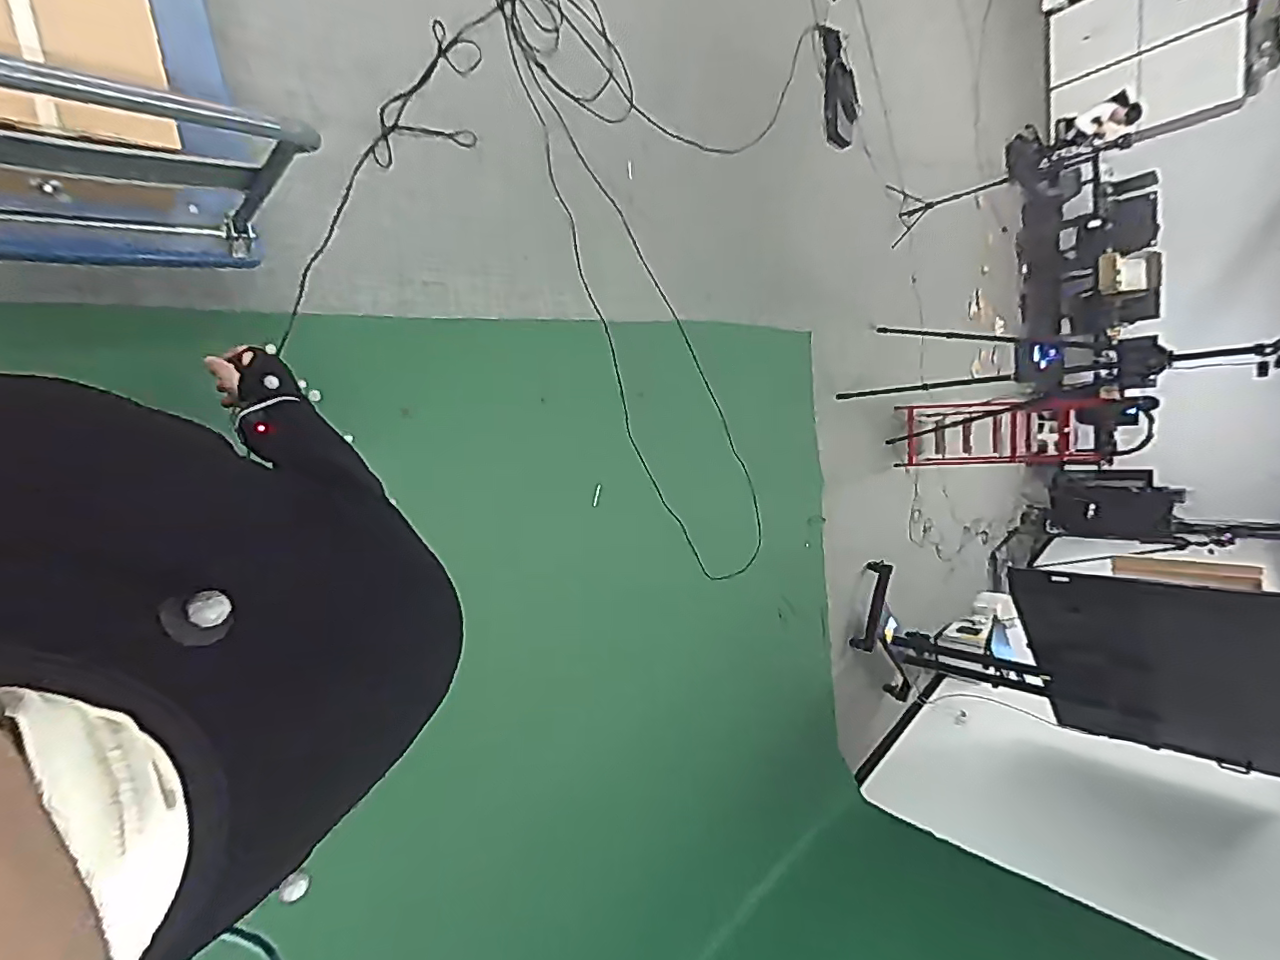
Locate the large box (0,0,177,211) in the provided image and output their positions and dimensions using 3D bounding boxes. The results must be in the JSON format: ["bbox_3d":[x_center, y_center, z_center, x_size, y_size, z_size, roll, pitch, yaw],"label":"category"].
[{"bbox_3d":[-1.021,-0.719,0.896,0.320,0.320,0.408,-15,100,-43],"label":"large box"}]
